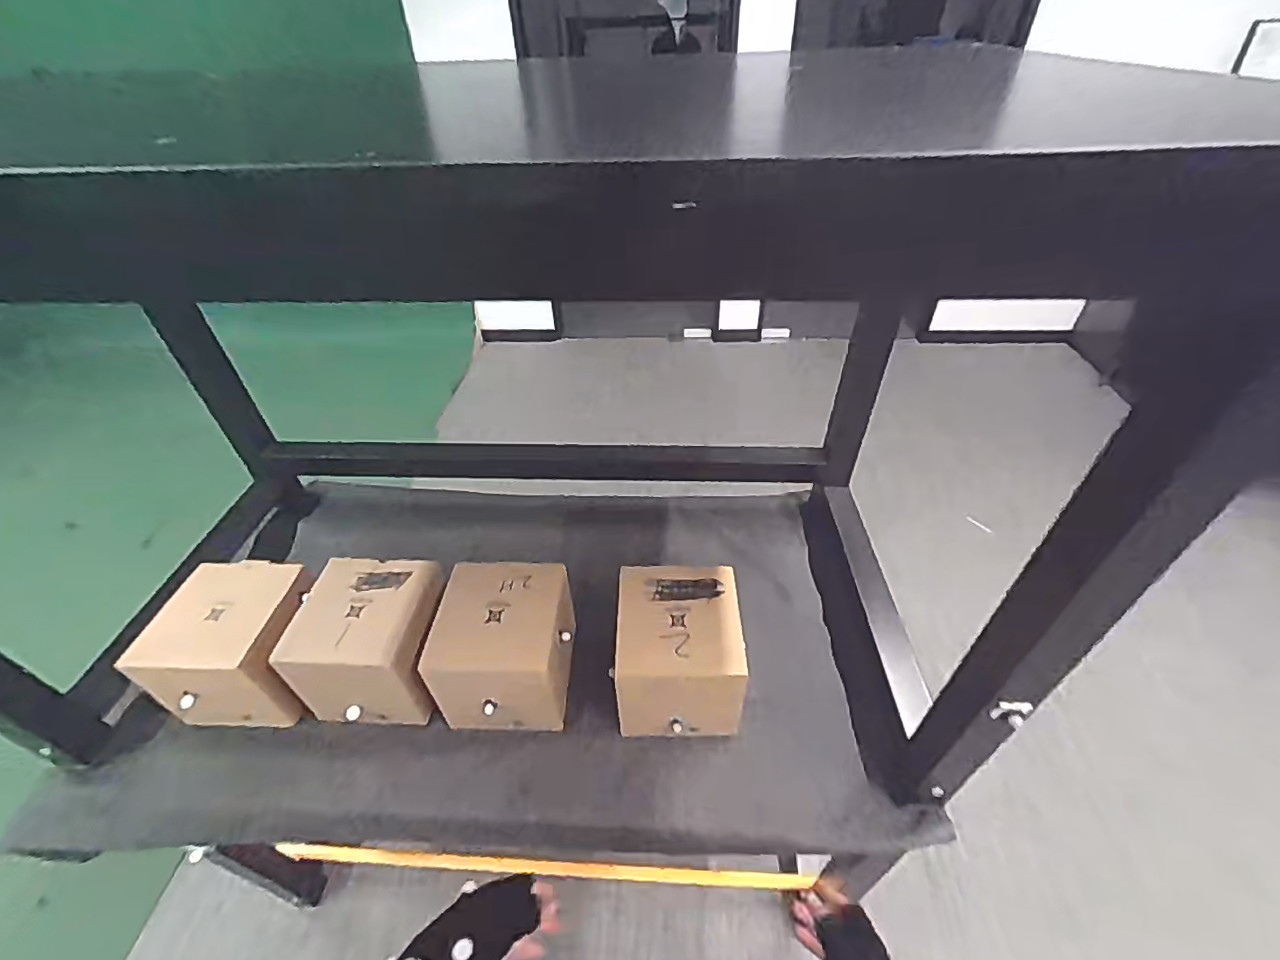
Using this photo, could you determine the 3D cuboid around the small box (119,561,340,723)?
[{"bbox_3d":[-0.582,0.241,0.803,0.168,0.176,0.179,1,40,2],"label":"small box"}]
